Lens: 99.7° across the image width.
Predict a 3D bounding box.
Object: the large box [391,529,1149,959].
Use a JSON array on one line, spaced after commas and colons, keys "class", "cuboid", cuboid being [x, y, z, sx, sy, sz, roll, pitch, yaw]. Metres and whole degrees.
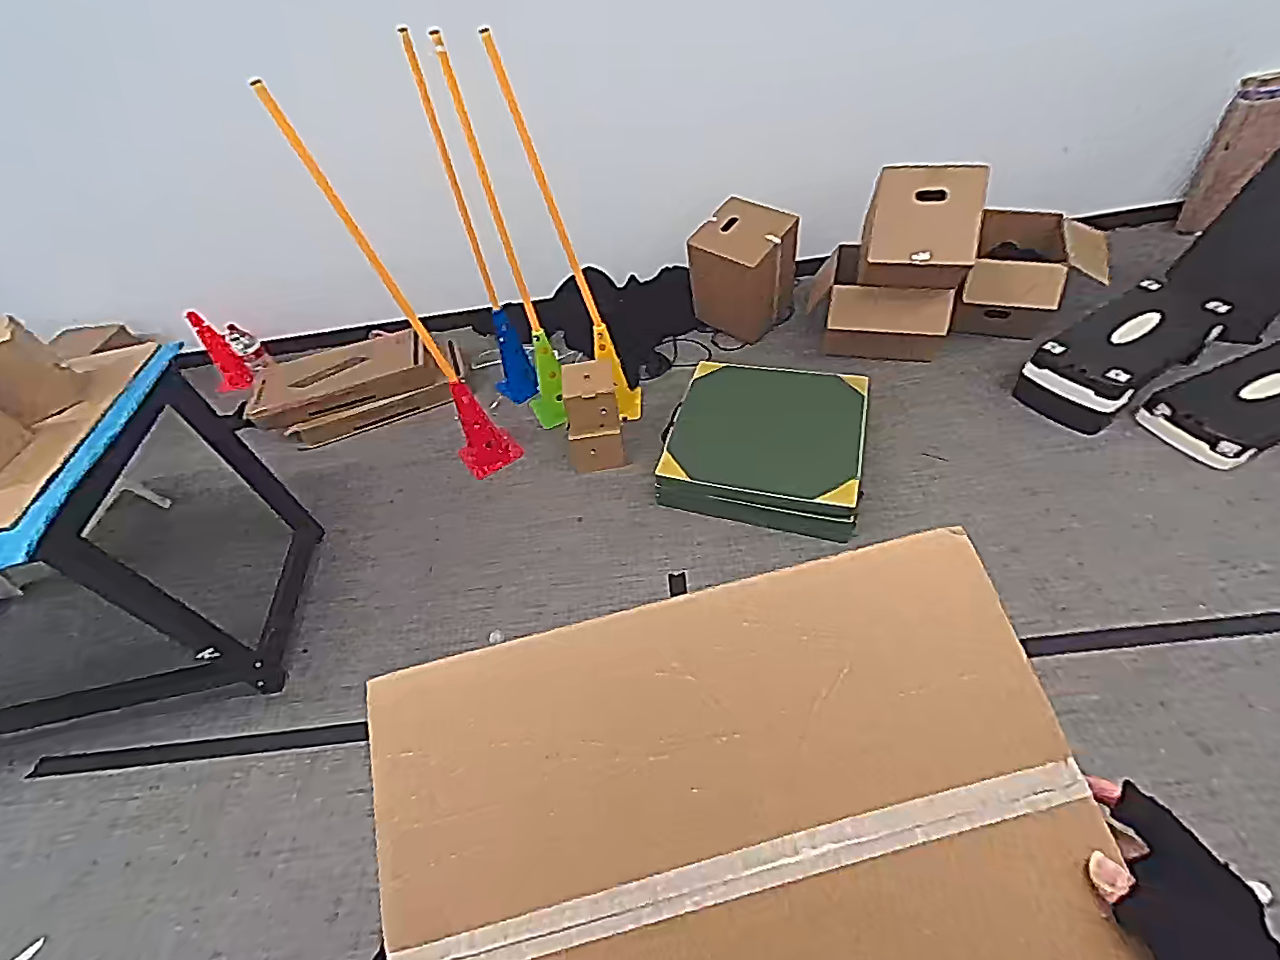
[{"class": "large box", "cuboid": [0.068, 0.273, 0.460, 0.408, 0.320, 0.320, -15, 71, -2]}]
